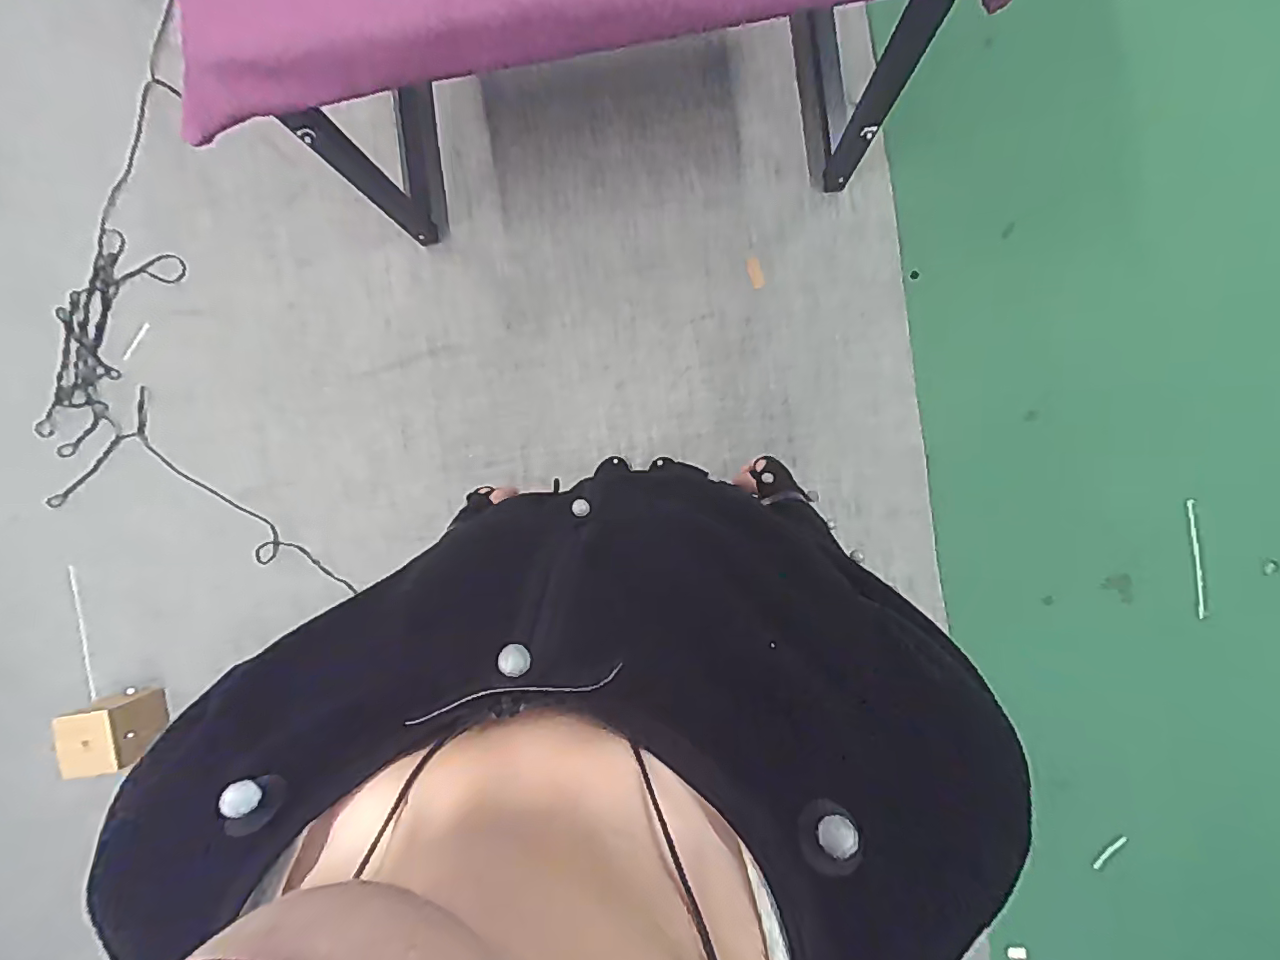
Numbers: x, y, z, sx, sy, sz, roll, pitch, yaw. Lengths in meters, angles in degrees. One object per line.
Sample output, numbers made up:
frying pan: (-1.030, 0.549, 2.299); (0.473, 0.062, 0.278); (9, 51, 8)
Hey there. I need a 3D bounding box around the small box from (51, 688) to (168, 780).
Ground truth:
small box: (-1.502, 0.719, 1.543); (0.168, 0.176, 0.179); (-9, 90, 3)
